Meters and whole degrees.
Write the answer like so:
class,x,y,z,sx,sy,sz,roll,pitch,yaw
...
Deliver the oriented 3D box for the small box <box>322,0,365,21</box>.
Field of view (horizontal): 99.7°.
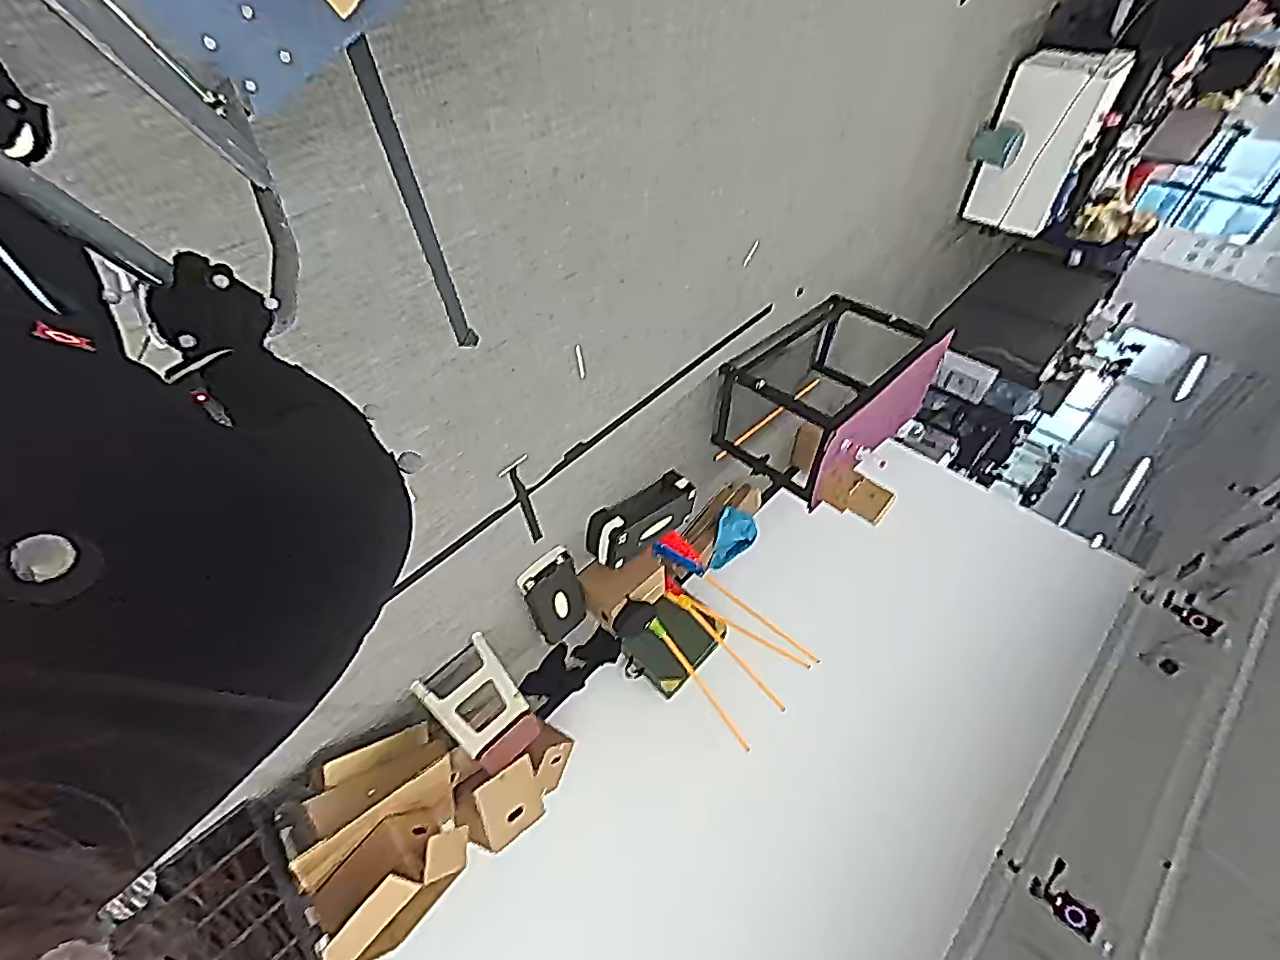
class,x,y,z,sx,sy,sz,roll,pitch,yaw
small box,-0.472,-0.833,0.784,0.168,0.176,0.179,-41,150,7
